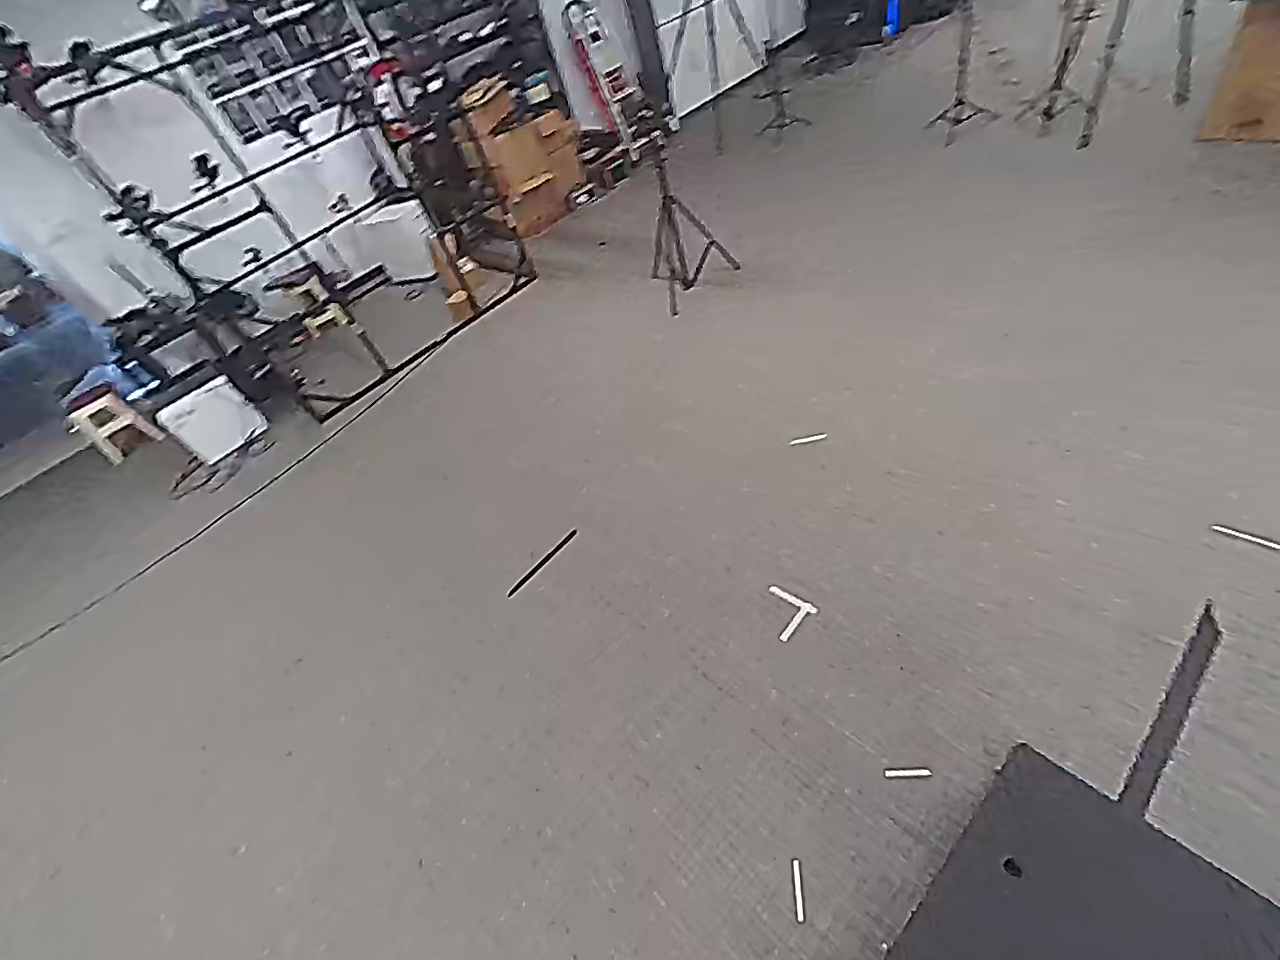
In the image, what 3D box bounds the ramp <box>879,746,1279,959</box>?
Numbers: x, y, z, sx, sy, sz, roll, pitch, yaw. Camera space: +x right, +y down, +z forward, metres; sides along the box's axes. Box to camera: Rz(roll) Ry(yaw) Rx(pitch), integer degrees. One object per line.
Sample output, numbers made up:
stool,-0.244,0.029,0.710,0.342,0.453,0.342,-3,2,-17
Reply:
ramp,0.733,1.002,0.992,0.991,0.206,0.509,-42,45,-21
